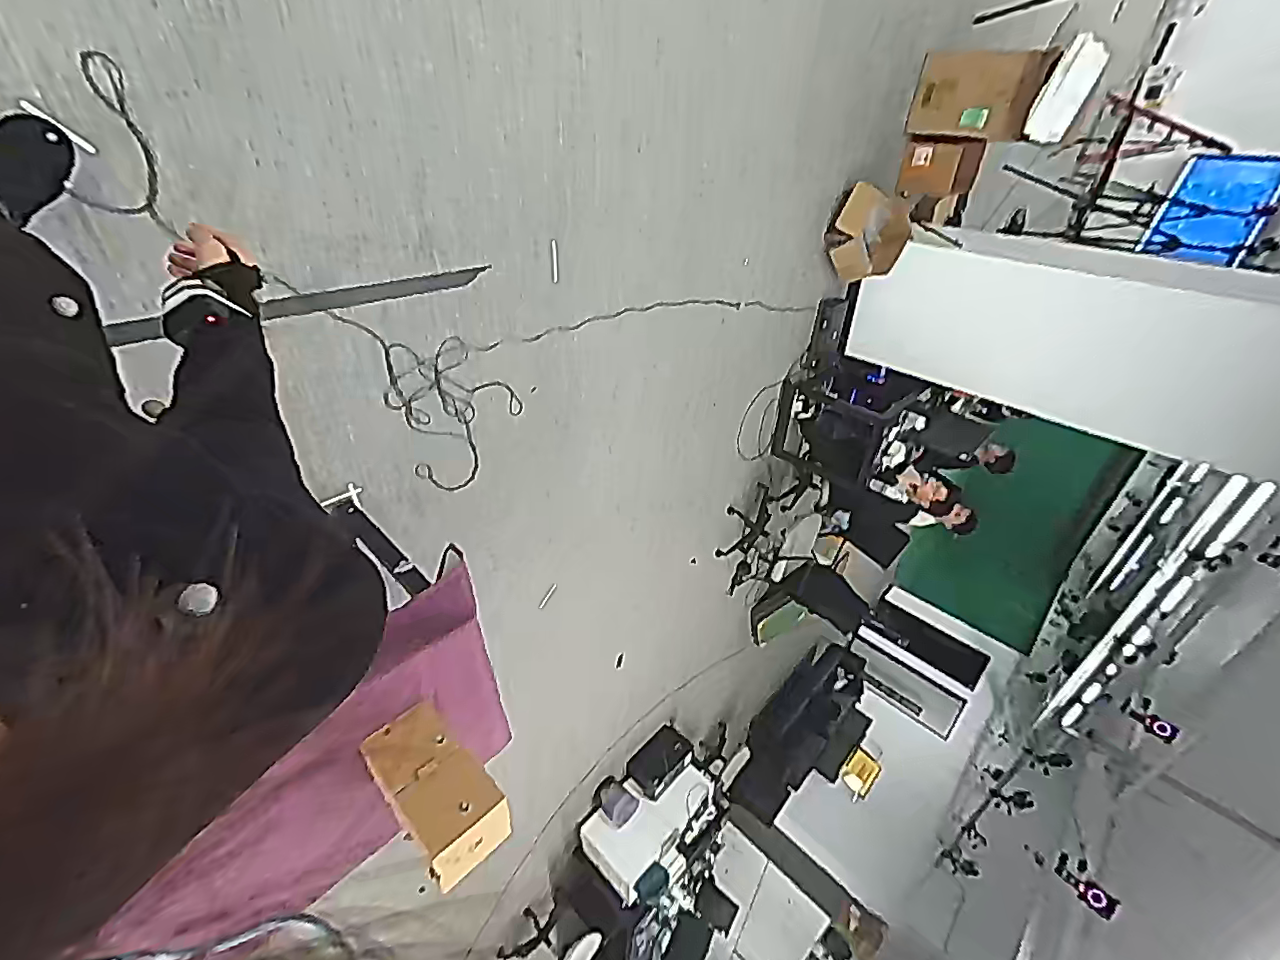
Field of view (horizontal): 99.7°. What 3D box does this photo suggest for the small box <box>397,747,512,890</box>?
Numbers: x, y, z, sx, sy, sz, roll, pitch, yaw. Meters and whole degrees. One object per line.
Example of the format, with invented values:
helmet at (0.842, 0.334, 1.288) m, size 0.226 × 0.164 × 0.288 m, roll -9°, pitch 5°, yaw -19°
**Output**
small box at (-0.408, 0.739, 1.199) m, size 0.179 × 0.176 × 0.168 m, roll -27°, pitch 134°, yaw -39°
